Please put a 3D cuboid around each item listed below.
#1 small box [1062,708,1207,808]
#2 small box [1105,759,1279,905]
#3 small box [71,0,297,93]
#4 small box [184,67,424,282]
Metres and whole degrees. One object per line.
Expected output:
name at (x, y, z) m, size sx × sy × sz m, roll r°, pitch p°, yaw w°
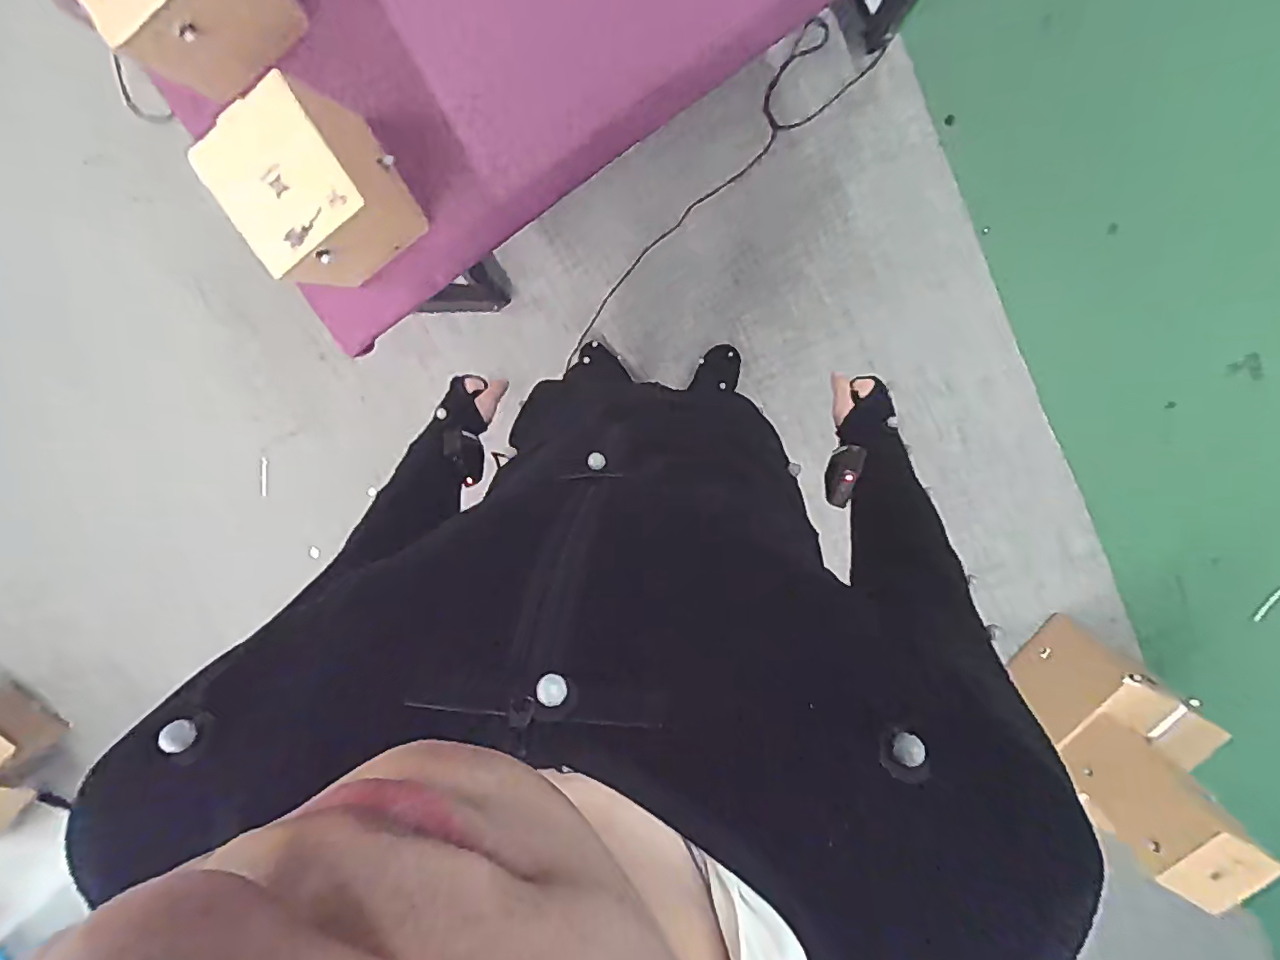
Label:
small box at (1.198, 0.709, 1.333) m, size 0.168 × 0.176 × 0.179 m, roll 29°, pitch 108°, yaw -3°
small box at (1.178, 0.759, 1.178) m, size 0.168 × 0.176 × 0.179 m, roll 31°, pitch 109°, yaw -4°
small box at (-0.582, -0.632, 0.670) m, size 0.179 × 0.176 × 0.168 m, roll -28°, pitch 103°, yaw 14°
small box at (-0.436, -0.389, 0.731) m, size 0.168 × 0.176 × 0.179 m, roll -29°, pitch 101°, yaw 15°
